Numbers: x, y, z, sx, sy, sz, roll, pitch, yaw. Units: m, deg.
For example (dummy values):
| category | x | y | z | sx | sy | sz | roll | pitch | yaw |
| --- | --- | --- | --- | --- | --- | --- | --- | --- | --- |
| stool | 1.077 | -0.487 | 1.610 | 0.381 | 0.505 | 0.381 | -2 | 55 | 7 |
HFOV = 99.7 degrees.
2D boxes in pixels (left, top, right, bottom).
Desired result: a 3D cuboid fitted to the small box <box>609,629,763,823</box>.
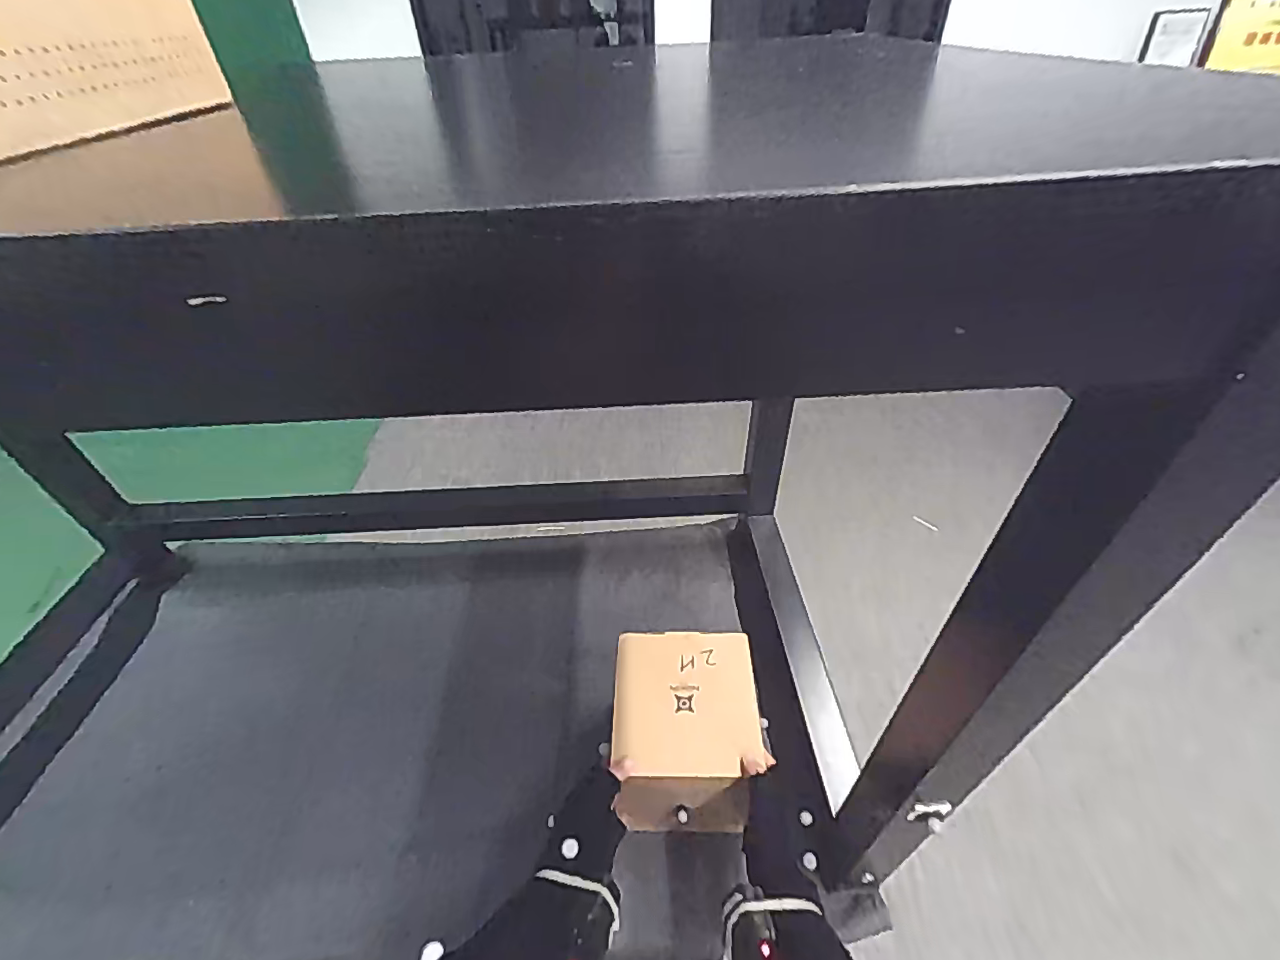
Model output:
| category | x | y | z | sx | sy | sz | roll | pitch | yaw |
| --- | --- | --- | --- | --- | --- | --- | --- | --- | --- |
| small box | 0.056 | 0.309 | 0.679 | 0.168 | 0.176 | 0.179 | -1 | 40 | 3 |
